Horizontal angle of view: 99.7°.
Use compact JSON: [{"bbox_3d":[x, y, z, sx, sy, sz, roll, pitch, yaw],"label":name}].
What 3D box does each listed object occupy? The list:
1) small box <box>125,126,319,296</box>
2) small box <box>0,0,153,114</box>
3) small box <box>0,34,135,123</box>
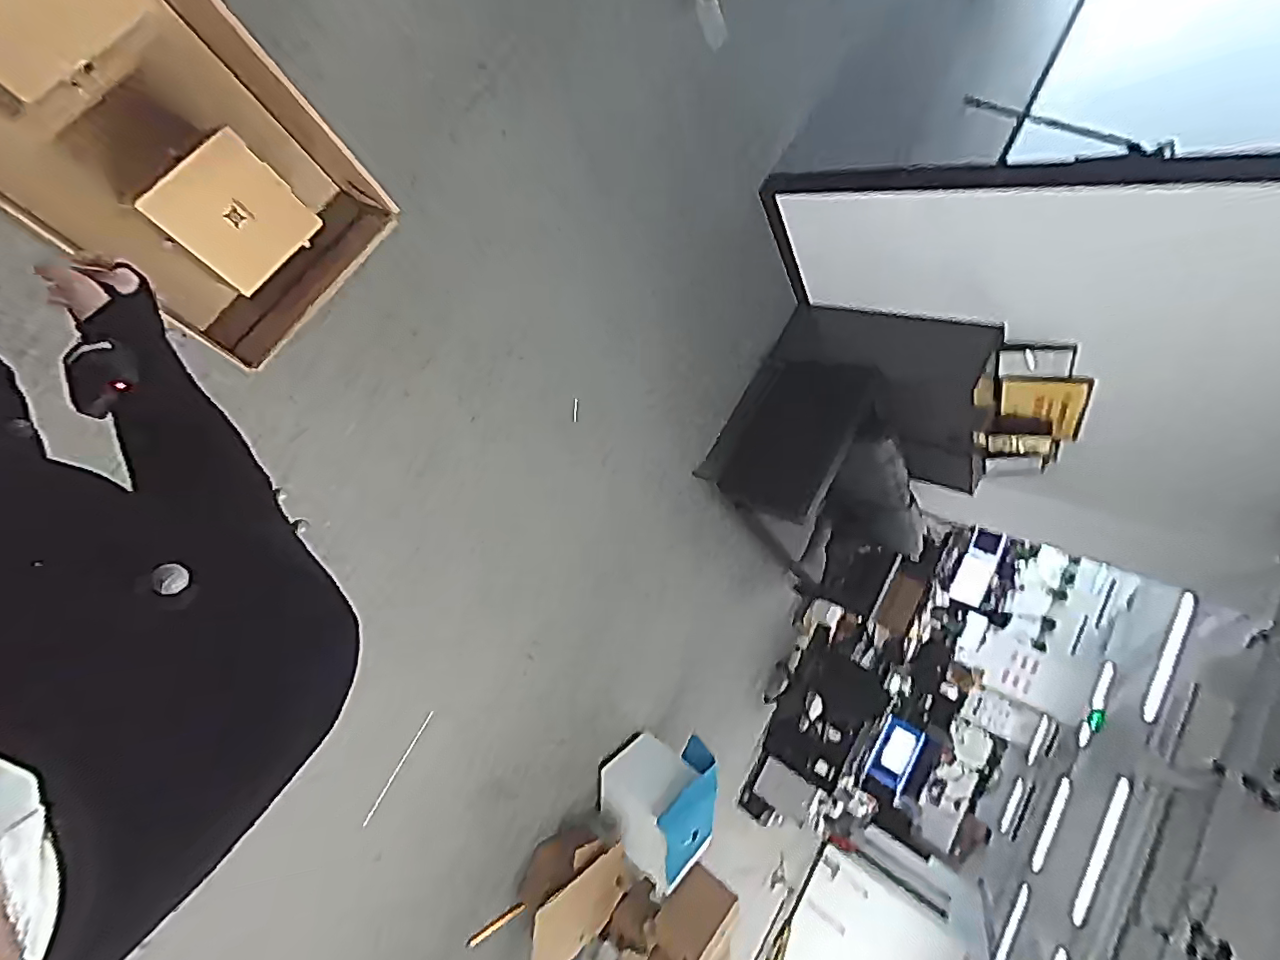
[{"bbox_3d":[-0.665,-0.421,0.860,0.179,0.176,0.168,-56,141,-15],"label":"small box"},{"bbox_3d":[-0.660,-0.508,0.550,0.179,0.176,0.168,-55,141,-15],"label":"small box"},{"bbox_3d":[-0.777,-0.566,0.650,0.179,0.176,0.168,-54,140,-17],"label":"small box"}]
